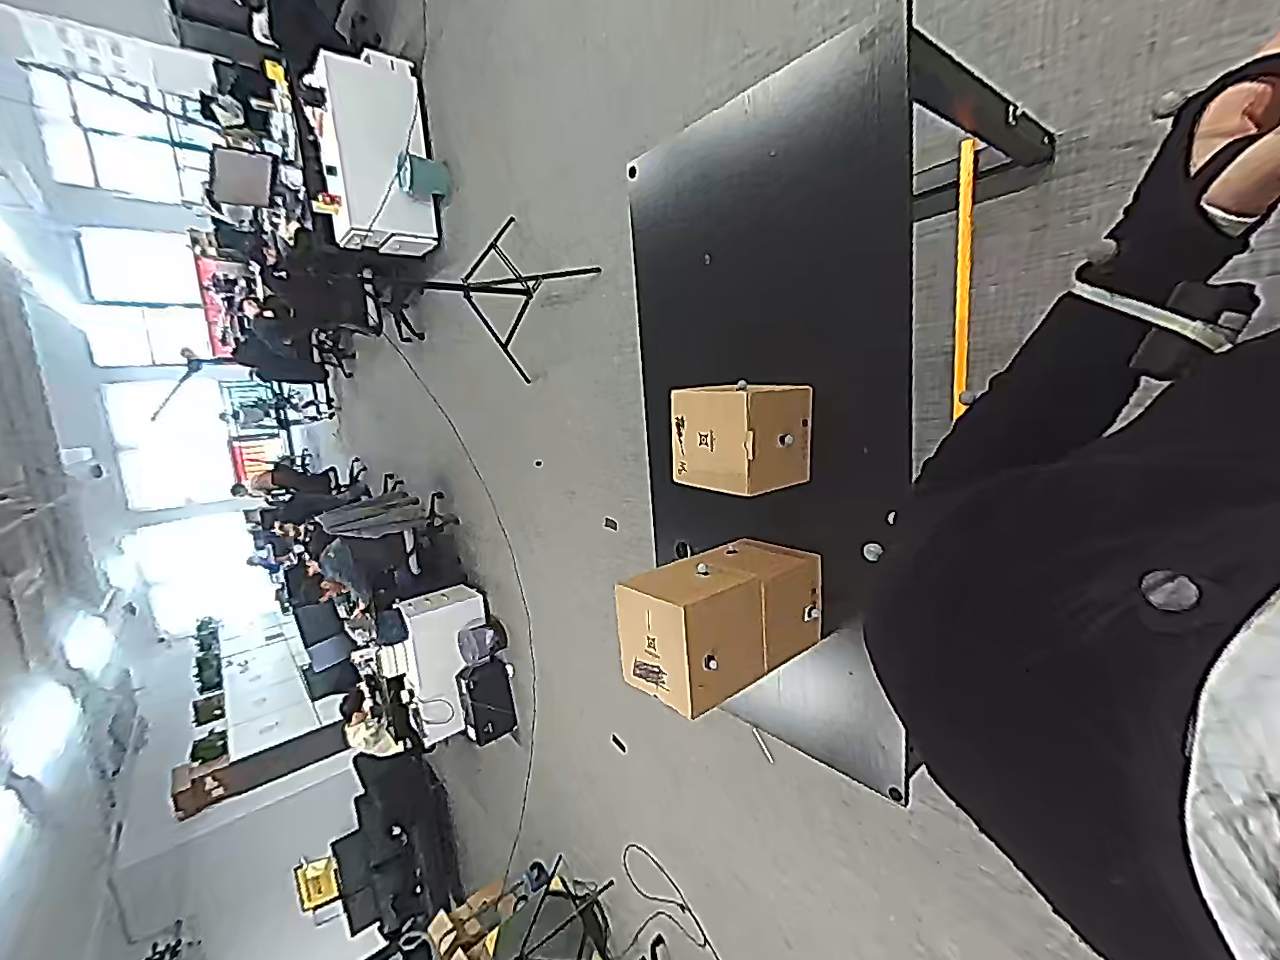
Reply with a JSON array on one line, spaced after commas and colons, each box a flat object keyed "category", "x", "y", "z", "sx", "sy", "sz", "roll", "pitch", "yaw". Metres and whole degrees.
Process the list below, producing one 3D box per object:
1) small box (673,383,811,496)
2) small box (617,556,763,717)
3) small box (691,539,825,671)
[{"category": "small box", "x": 0.179, "y": -0.080, "z": 0.939, "sx": 0.179, "sy": 0.176, "sz": 0.168, "roll": 13, "pitch": 109, "yaw": 49}, {"category": "small box", "x": 0.084, "y": 0.239, "z": 0.875, "sx": 0.168, "sy": 0.176, "sz": 0.179, "roll": 6, "pitch": 104, "yaw": 51}, {"category": "small box", "x": 0.211, "y": 0.212, "z": 0.976, "sx": 0.179, "sy": 0.176, "sz": 0.168, "roll": 7, "pitch": 106, "yaw": 50}]
